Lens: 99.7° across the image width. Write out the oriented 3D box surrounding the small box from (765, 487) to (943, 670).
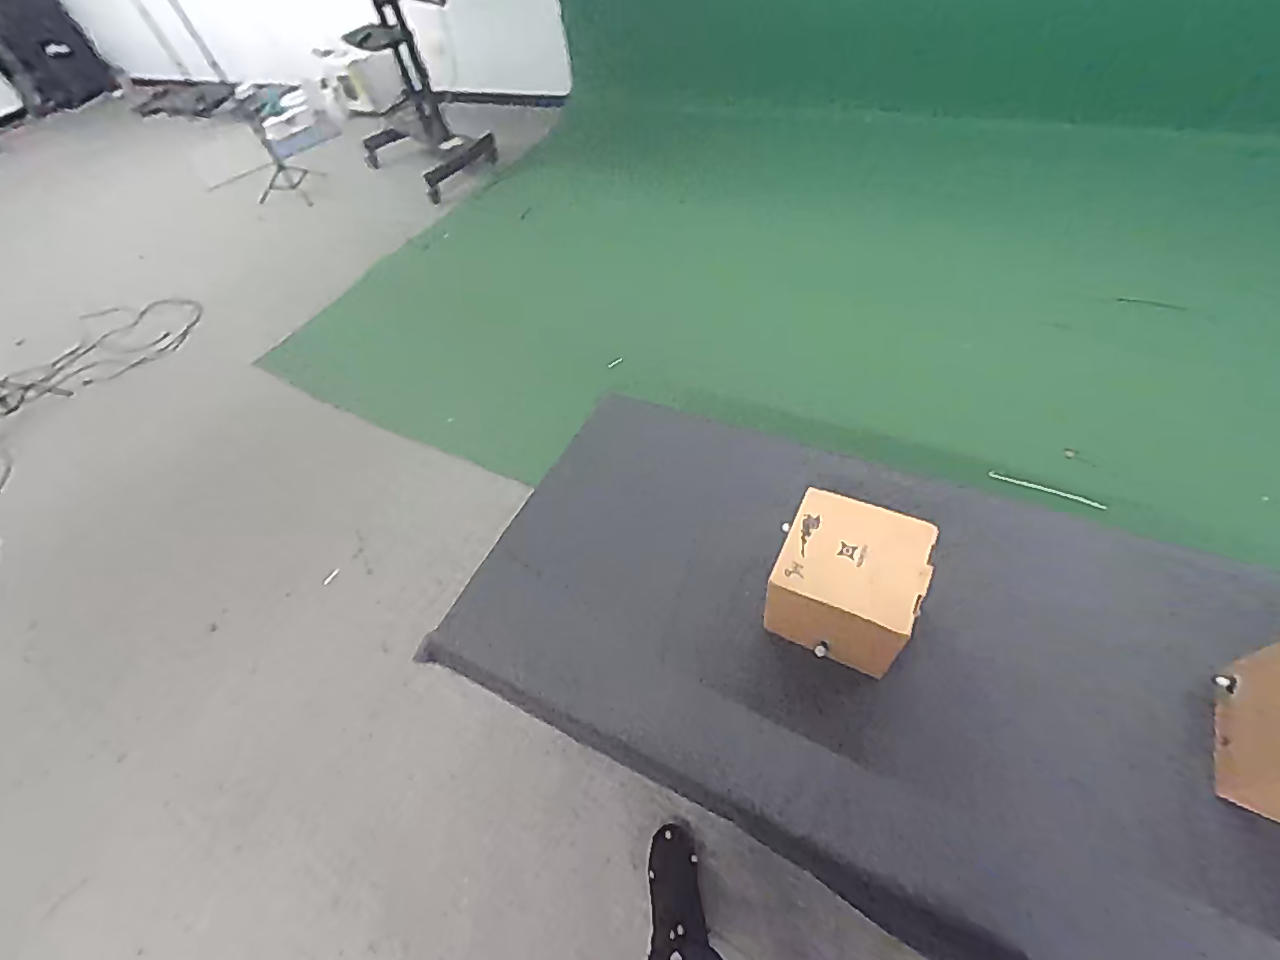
[{"bbox_3d":[0.291,0.144,0.760,0.179,0.176,0.168,20,57,20],"label":"small box"}]
